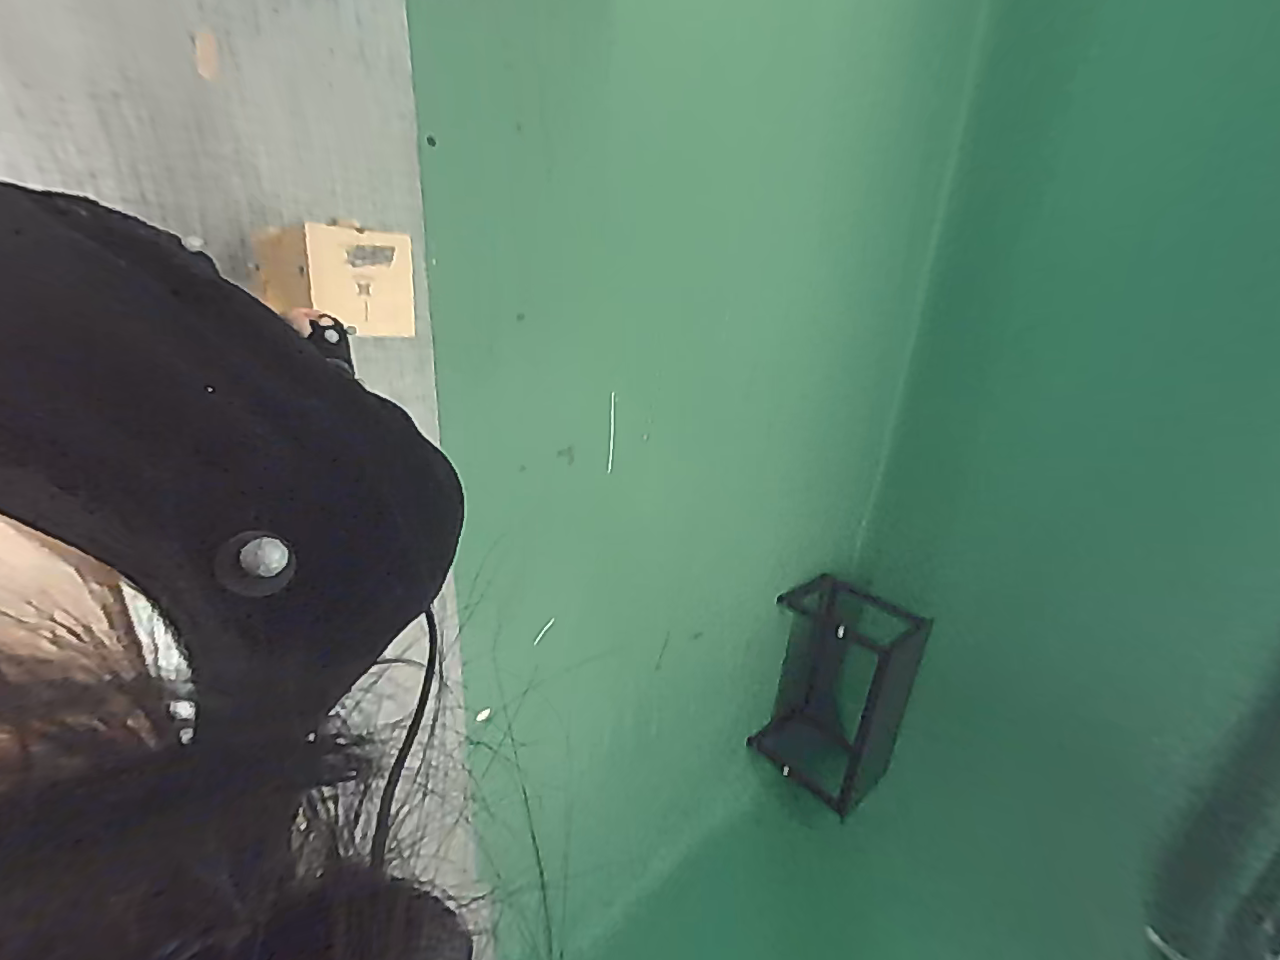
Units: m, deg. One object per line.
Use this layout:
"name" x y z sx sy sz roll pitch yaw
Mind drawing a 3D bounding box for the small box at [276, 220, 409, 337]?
"small box" -0.529 -0.356 0.964 0.168 0.176 0.179 -13 117 -42

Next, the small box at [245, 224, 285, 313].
"small box" -0.751 -0.448 1.188 0.179 0.176 0.168 -2 109 -44
